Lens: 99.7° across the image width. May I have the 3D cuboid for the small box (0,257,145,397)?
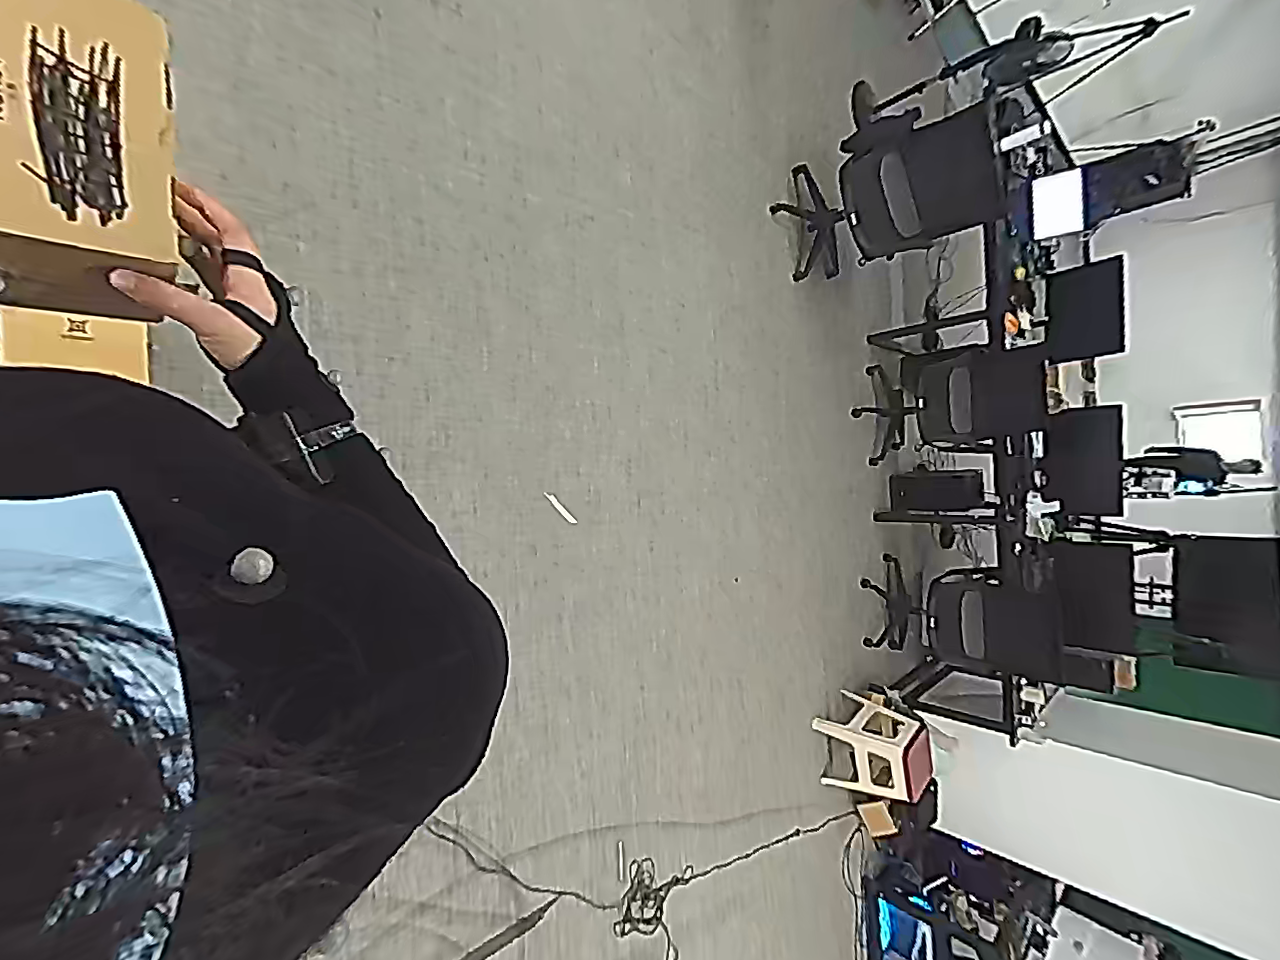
[{"bbox_3d":[-0.942,-0.241,0.900,0.168,0.176,0.179,-2,91,-43],"label":"small box"}]
